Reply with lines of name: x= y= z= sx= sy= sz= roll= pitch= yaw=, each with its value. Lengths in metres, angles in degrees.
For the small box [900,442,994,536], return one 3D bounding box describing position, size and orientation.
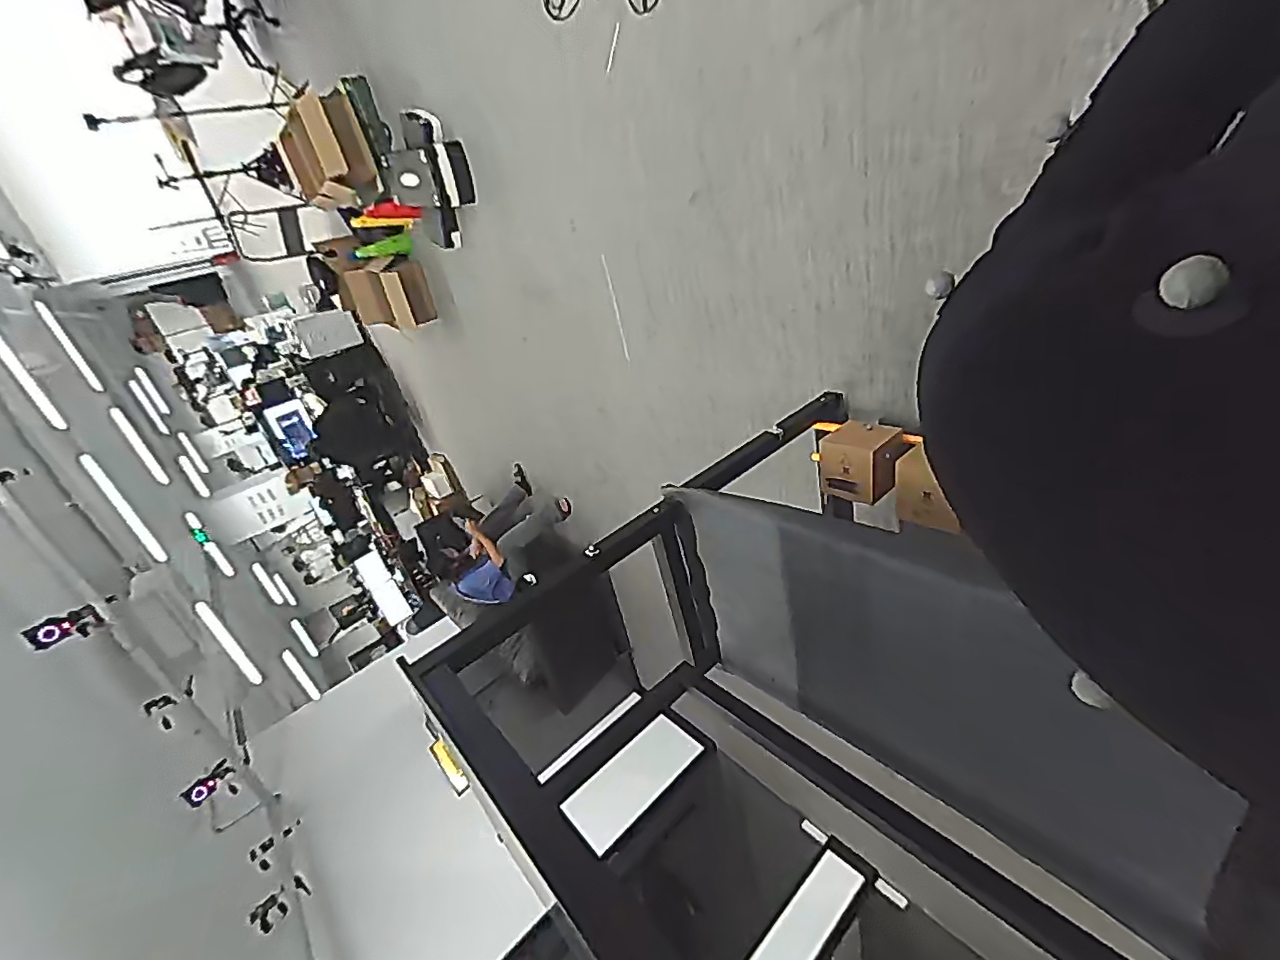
small box: x=0.802 y=0.015 z=1.414 sx=0.168 sy=0.176 sz=0.179 roll=18 pitch=129 yaw=48
